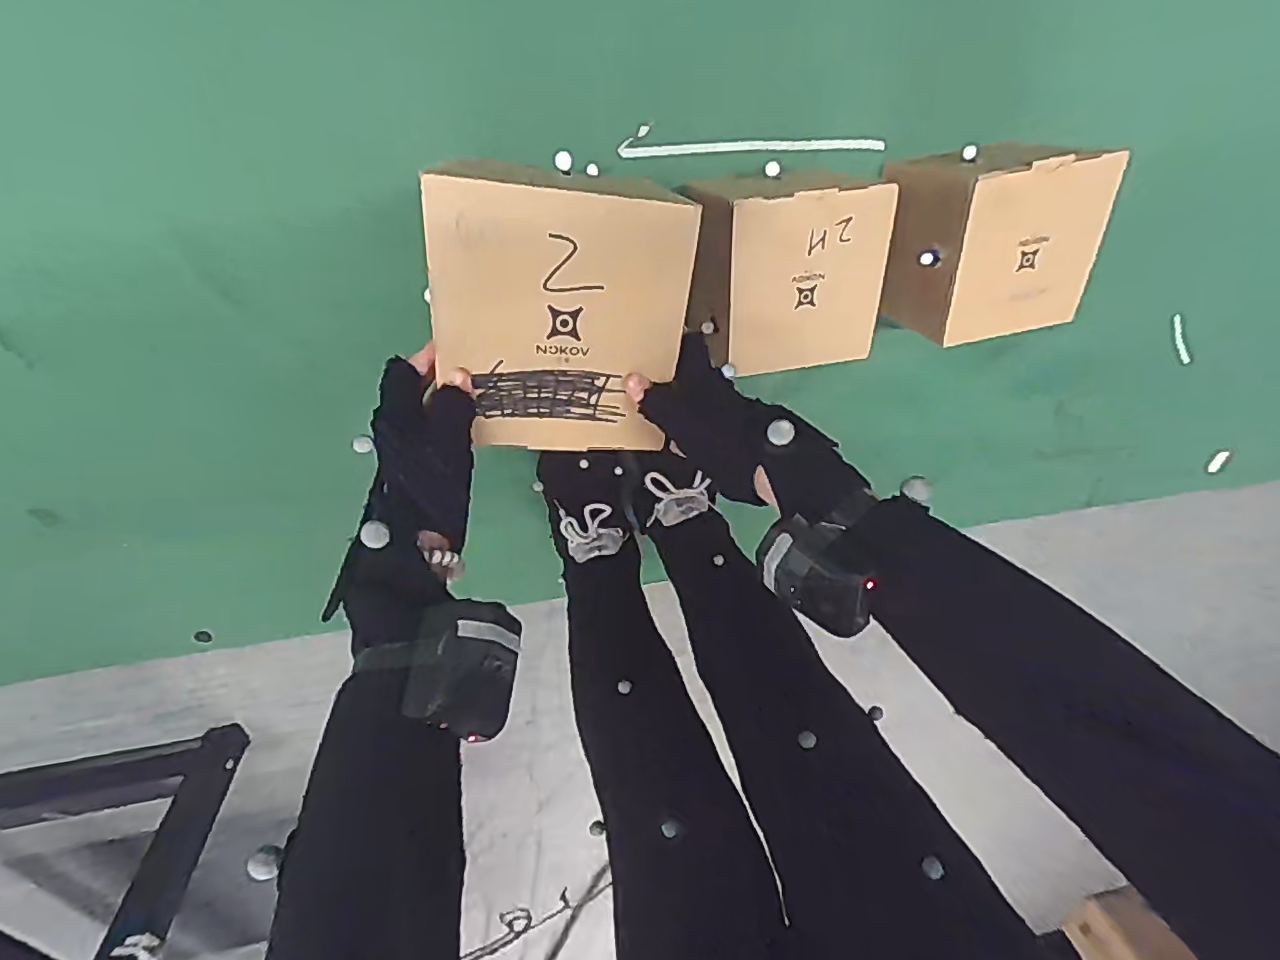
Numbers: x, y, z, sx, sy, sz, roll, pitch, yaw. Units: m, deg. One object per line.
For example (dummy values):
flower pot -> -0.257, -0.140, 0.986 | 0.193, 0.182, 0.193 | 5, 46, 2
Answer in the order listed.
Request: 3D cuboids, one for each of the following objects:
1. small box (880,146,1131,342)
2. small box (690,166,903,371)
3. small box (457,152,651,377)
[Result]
small box -> 0.399, -0.284, 0.637 | 0.168, 0.176, 0.179 | -11, 125, -5
small box -> 0.156, -0.242, 0.607 | 0.168, 0.176, 0.179 | -9, 124, -7
small box -> -0.097, -0.225, 0.560 | 0.168, 0.176, 0.179 | 3, 123, -14
